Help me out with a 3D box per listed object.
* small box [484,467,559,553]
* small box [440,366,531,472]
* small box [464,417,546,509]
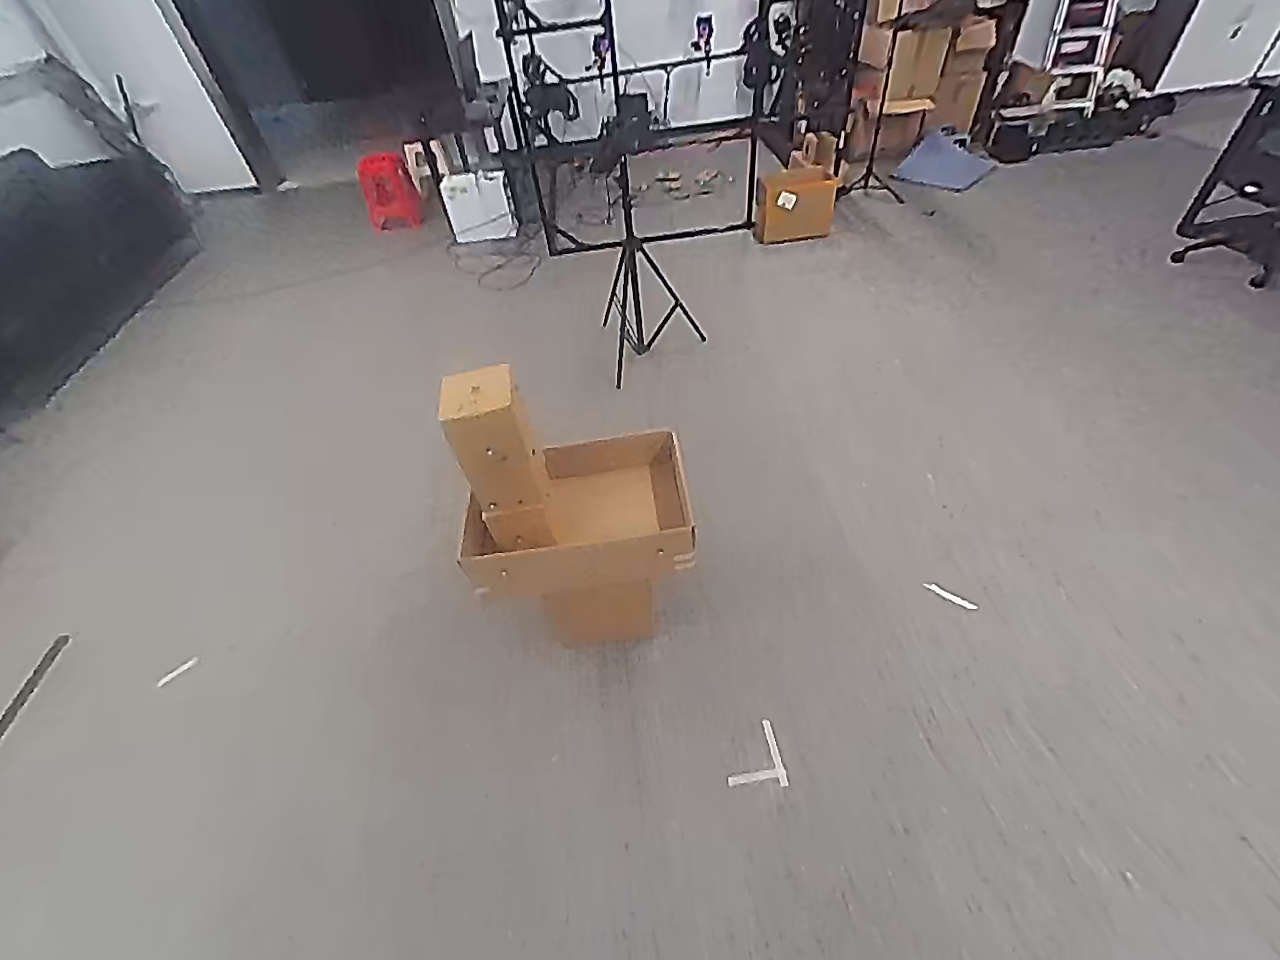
[{"bbox_3d":[-0.331,0.083,1.540,0.168,0.176,0.179,-10,47,0],"label":"small box"},{"bbox_3d":[-0.367,-0.146,1.307,0.168,0.176,0.179,-13,47,-2],"label":"small box"},{"bbox_3d":[-0.349,-0.038,1.431,0.168,0.176,0.179,-9,46,0],"label":"small box"}]
